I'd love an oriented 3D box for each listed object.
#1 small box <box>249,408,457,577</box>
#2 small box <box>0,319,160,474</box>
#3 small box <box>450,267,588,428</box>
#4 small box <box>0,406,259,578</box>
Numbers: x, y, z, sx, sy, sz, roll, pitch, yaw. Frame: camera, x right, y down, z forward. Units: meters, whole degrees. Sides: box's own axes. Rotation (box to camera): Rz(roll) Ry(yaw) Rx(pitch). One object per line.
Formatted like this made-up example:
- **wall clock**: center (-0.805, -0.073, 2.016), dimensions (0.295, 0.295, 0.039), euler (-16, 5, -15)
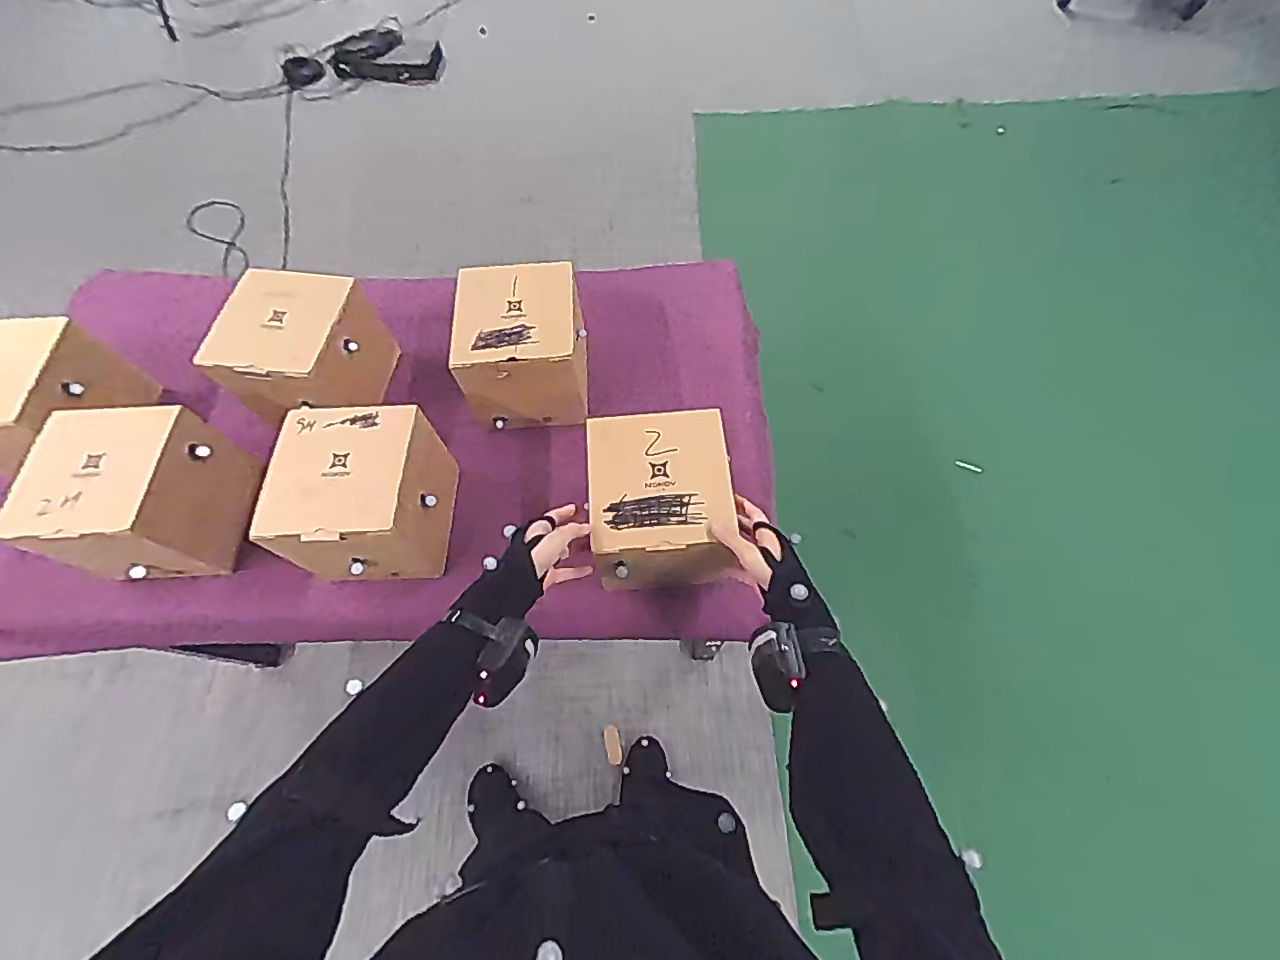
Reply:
- **small box**: center (-0.354, 0.025, 0.709), dimensions (0.168, 0.176, 0.179), euler (-1, 63, 1)
- **small box**: center (-0.866, -0.112, 0.790), dimensions (0.168, 0.176, 0.179), euler (-2, 65, 0)
- **small box**: center (-0.169, -0.189, 0.811), dimensions (0.168, 0.176, 0.179), euler (-3, 62, 0)
- **small box**: center (-0.653, 0.021, 0.717), dimensions (0.168, 0.176, 0.179), euler (-2, 64, 1)
